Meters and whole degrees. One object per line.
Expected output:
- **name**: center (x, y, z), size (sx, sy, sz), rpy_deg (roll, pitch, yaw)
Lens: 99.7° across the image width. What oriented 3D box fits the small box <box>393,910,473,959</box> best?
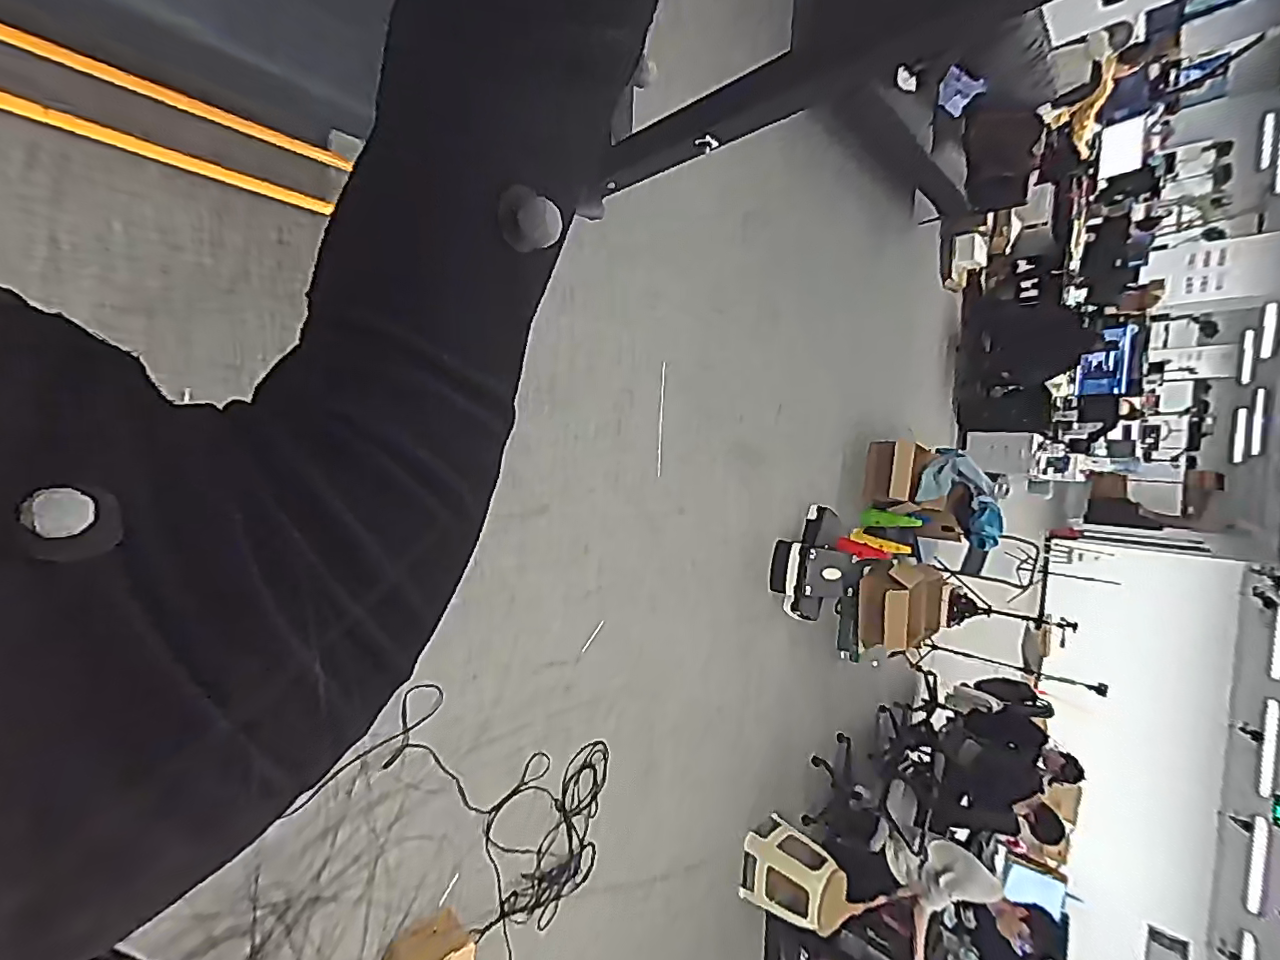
- **small box**: center (-0.607, 1.425, 1.576), size (0.168, 0.176, 0.179), rpy_deg (-1, 93, -47)
